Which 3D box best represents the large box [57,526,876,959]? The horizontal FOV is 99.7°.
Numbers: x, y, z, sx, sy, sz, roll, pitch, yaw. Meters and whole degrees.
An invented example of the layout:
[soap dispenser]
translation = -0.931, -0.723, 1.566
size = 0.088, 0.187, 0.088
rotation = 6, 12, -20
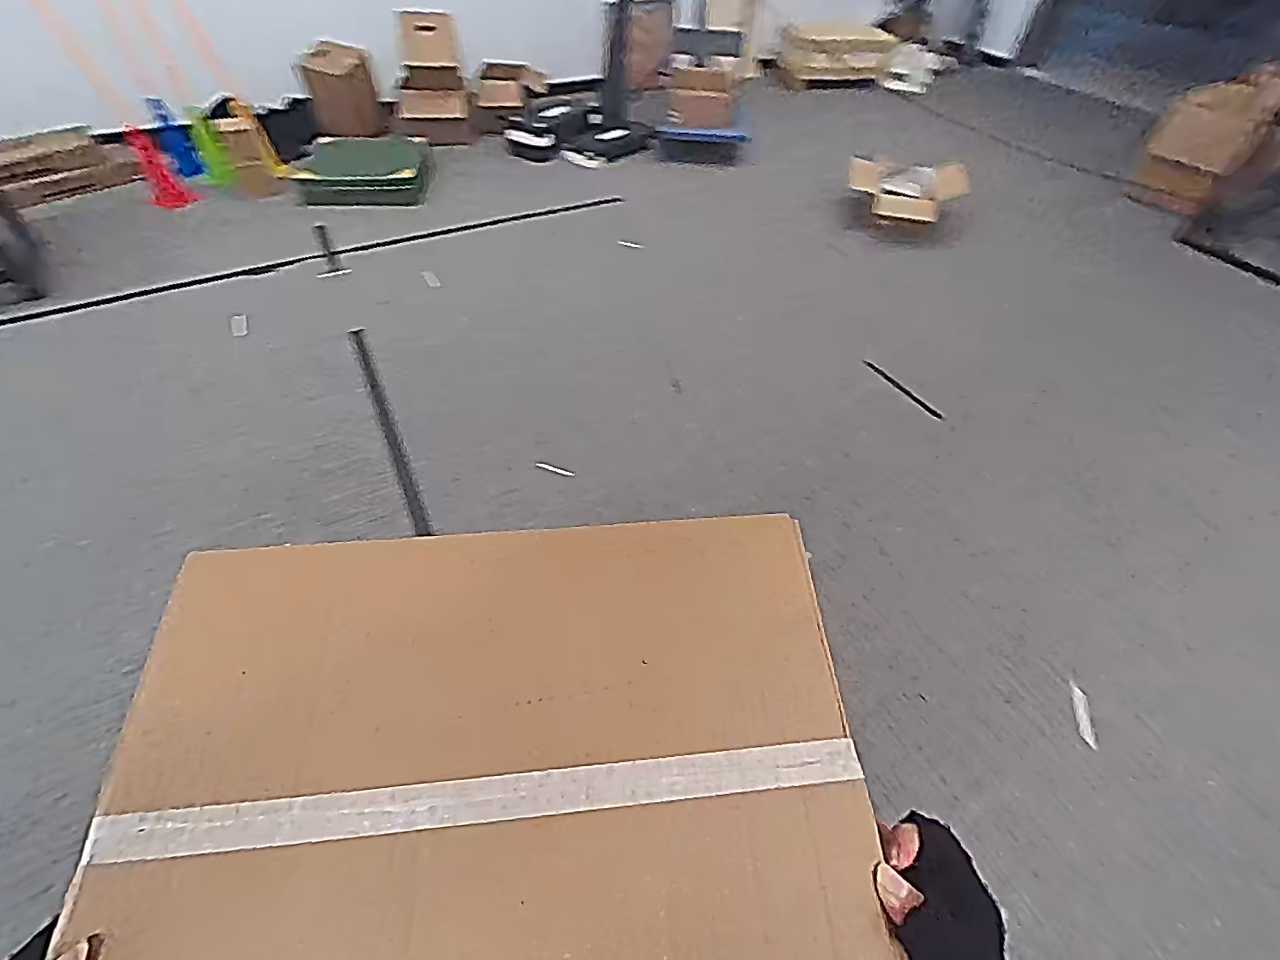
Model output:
[large box]
translation = -0.092, 0.256, 0.428
size = 0.408, 0.320, 0.320
rotation = -5, 60, -5
